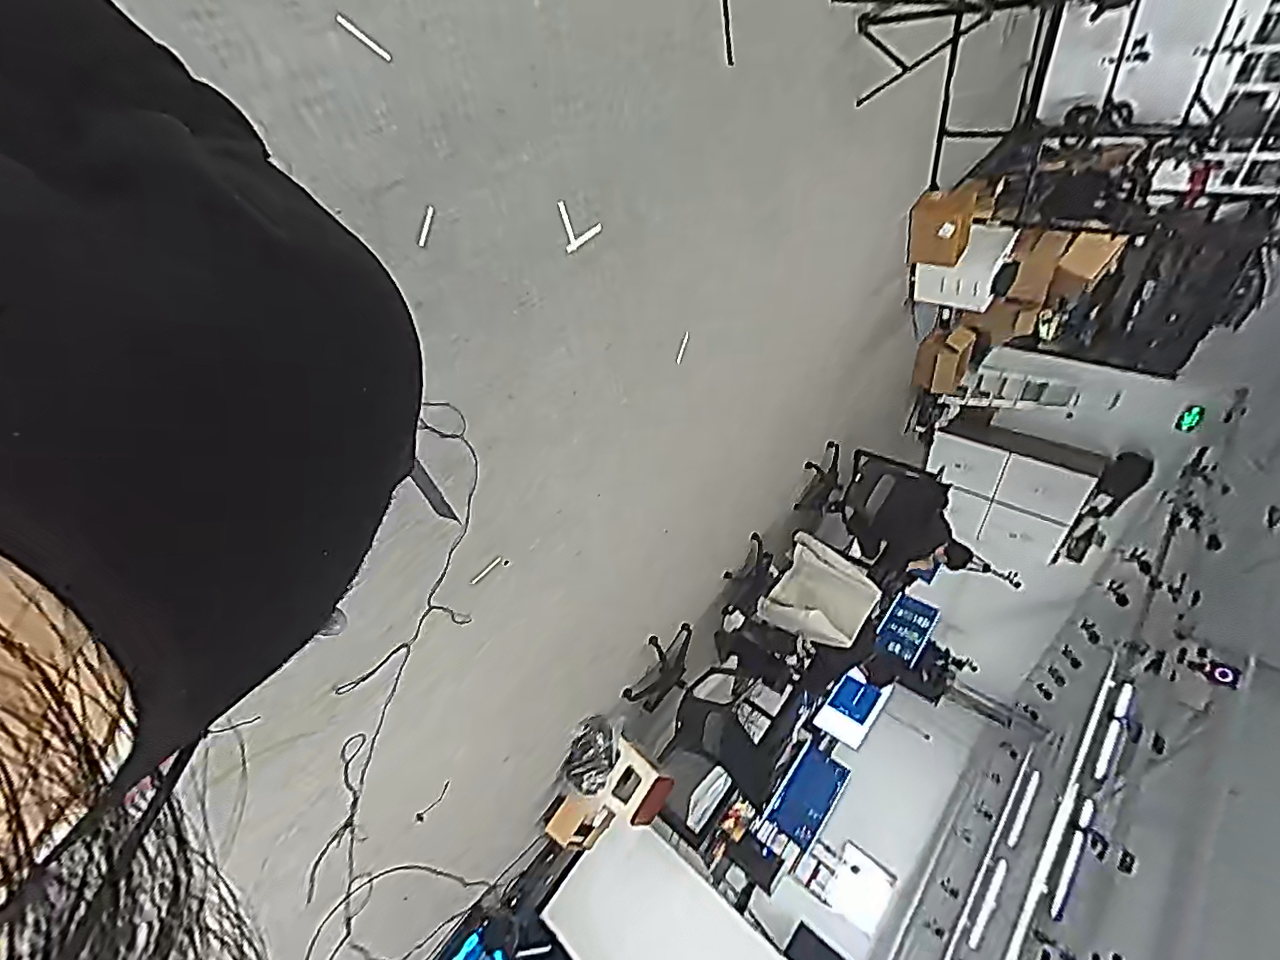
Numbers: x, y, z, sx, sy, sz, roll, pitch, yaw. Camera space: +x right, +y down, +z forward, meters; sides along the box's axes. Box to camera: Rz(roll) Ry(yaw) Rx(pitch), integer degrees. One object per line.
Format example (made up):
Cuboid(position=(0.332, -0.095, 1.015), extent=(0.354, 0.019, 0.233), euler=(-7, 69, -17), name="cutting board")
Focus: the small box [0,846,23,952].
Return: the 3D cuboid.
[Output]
Cuboid(position=(-0.777, 0.452, 0.517), extent=(0.179, 0.176, 0.168), euler=(-47, 142, -22), name="small box")
